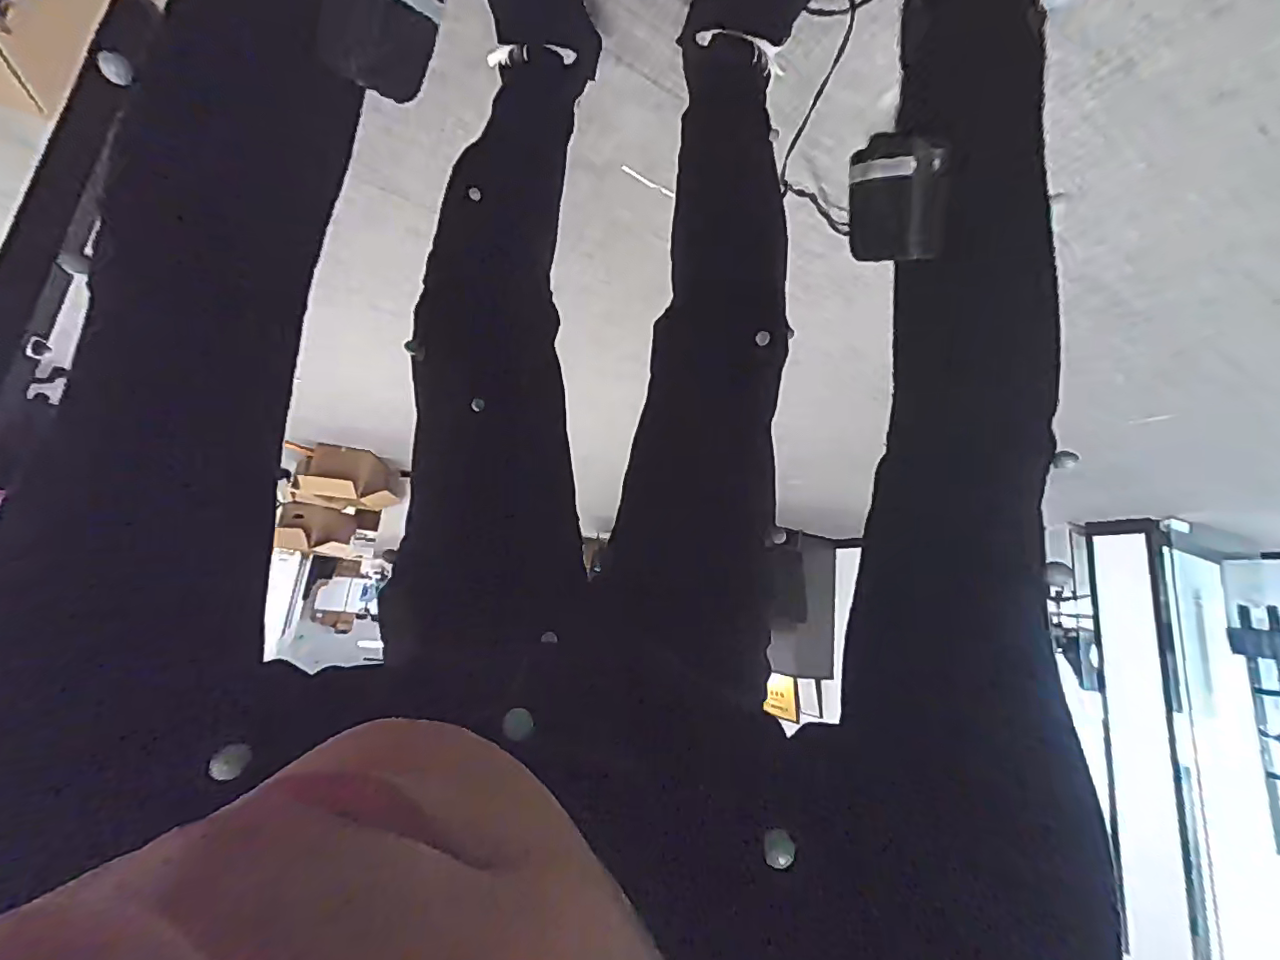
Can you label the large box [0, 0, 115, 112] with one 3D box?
[{"bbox_3d":[-0.732,-0.615,0.423,0.408,0.320,0.320,14,163,-24],"label":"large box"}]
